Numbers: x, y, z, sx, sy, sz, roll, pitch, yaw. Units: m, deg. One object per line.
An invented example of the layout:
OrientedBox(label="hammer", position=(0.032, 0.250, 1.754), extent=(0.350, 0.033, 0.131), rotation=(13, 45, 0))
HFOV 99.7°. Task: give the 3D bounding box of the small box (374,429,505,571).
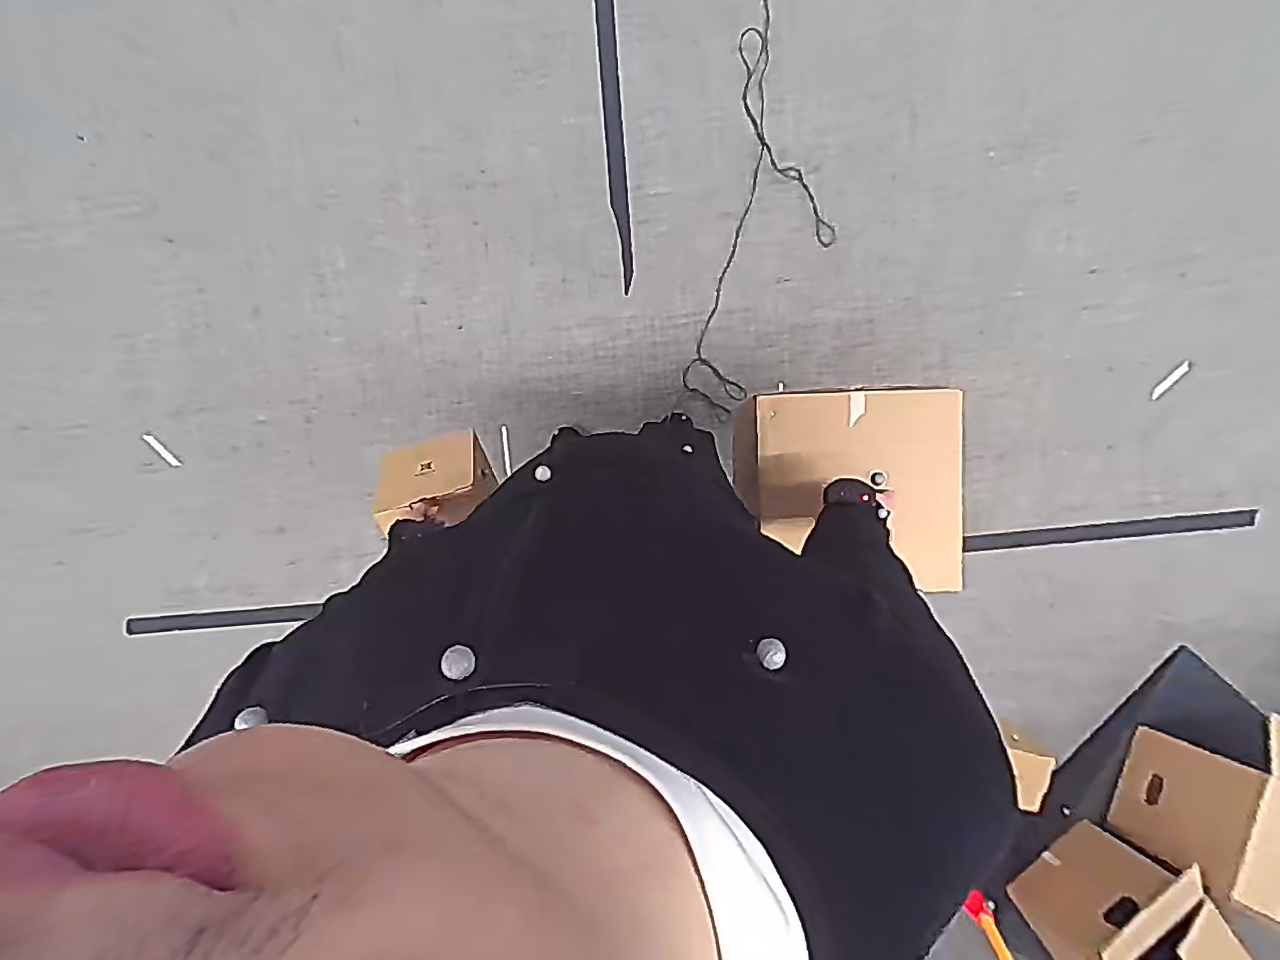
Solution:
OrientedBox(label="small box", position=(-0.349, 0.042, 0.970), extent=(0.168, 0.179, 0.176), rotation=(-16, 132, -5))
